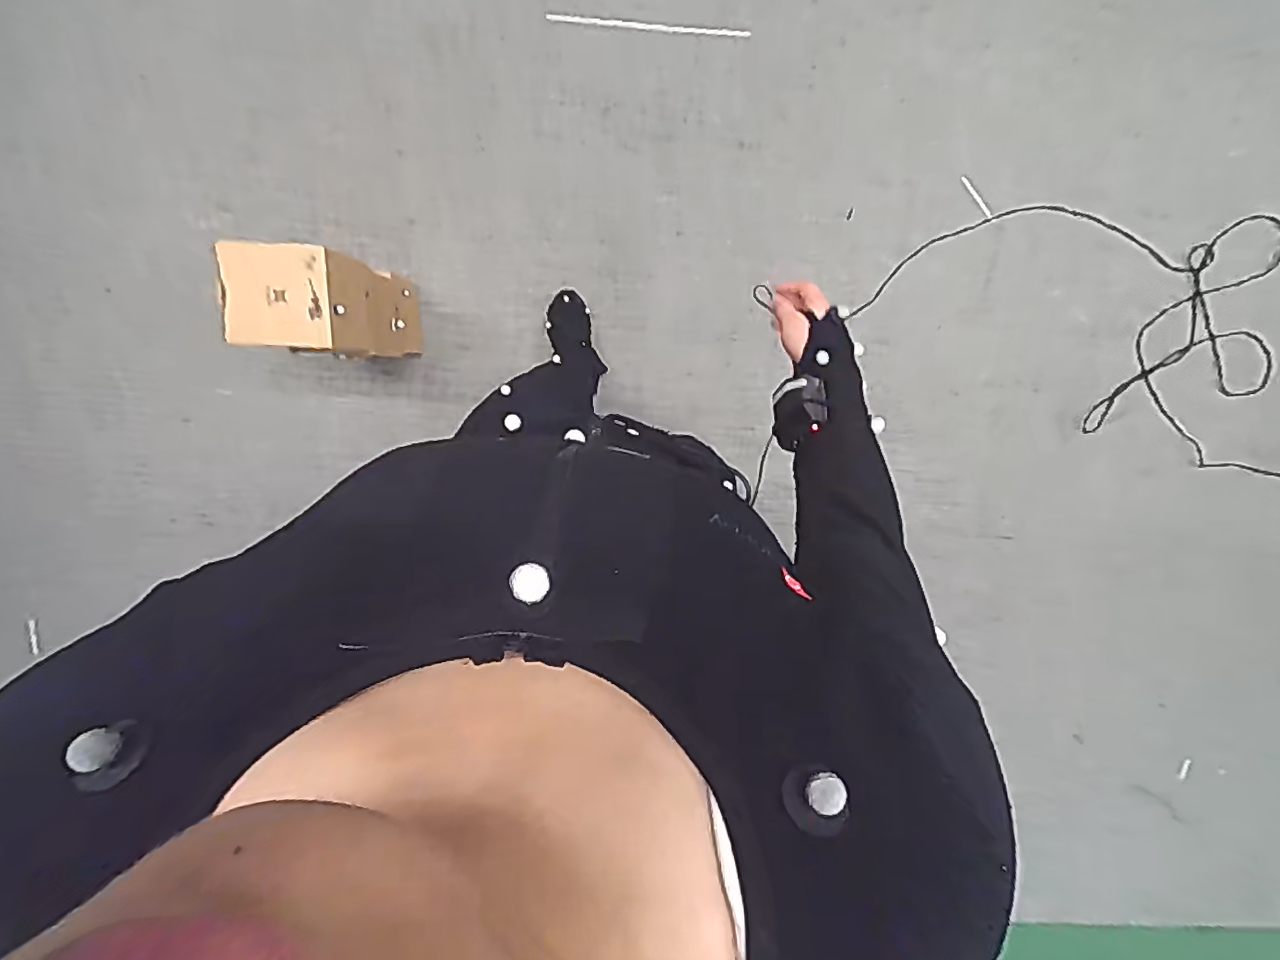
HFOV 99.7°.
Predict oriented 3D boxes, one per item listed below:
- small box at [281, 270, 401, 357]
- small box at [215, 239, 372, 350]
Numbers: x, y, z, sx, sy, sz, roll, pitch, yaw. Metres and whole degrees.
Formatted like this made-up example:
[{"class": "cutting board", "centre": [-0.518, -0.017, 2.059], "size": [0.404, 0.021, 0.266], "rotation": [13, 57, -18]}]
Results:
[{"class": "small box", "centre": [-0.624, -0.348, 1.136], "size": [0.179, 0.176, 0.168], "rotation": [2, 102, -4]}, {"class": "small box", "centre": [-0.611, -0.324, 0.974], "size": [0.179, 0.176, 0.168], "rotation": [2, 102, -2]}]
